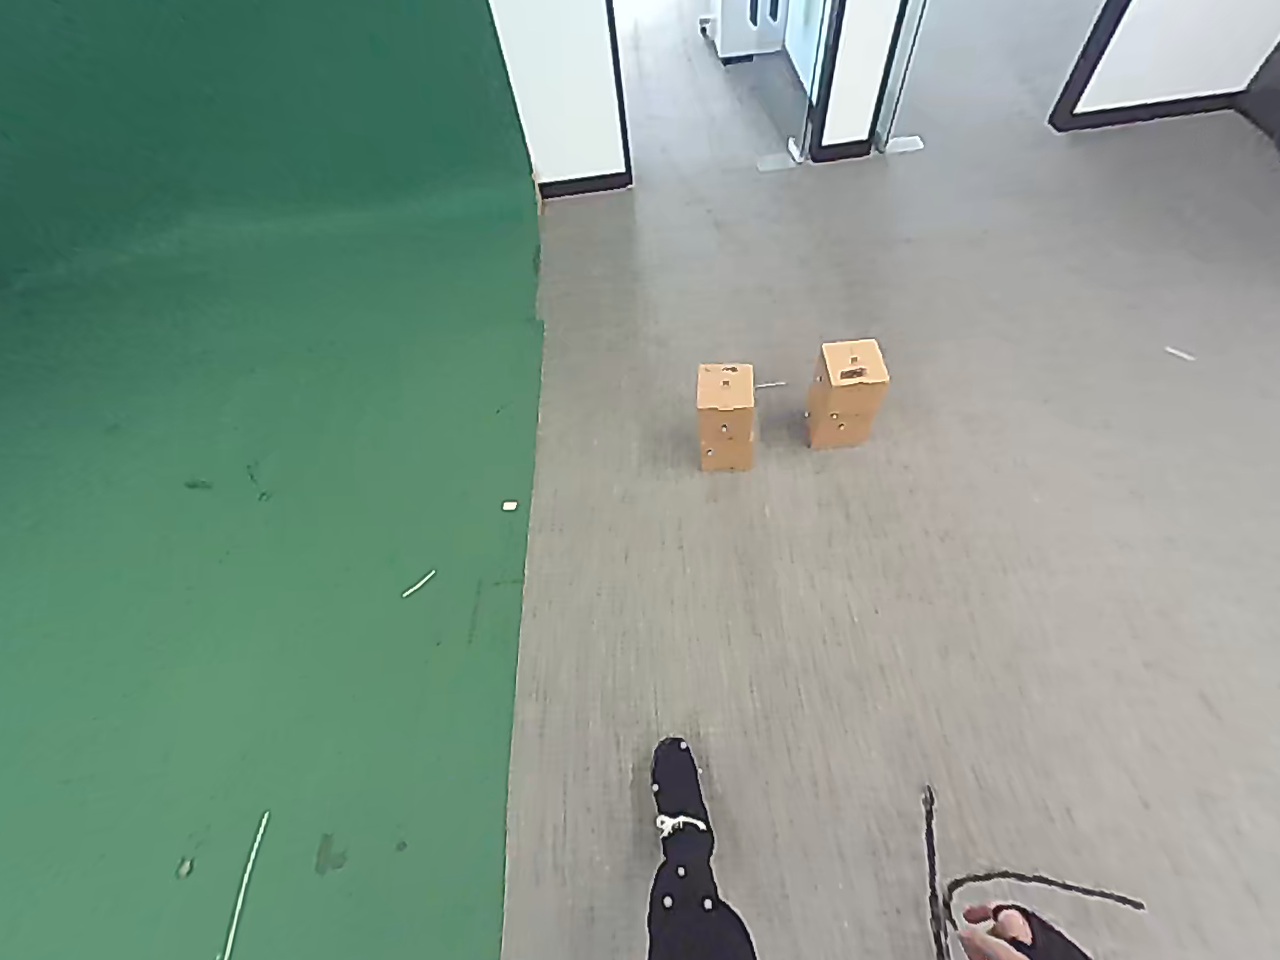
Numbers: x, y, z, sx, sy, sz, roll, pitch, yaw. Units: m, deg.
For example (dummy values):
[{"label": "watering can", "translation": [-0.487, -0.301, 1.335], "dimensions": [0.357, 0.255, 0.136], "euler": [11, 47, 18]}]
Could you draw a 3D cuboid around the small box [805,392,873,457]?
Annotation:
[{"label": "small box", "translation": [0.662, -0.189, 1.820], "dimensions": [0.179, 0.176, 0.168], "euler": [-4, 57, 4]}]

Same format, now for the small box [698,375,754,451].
[{"label": "small box", "translation": [0.267, -0.205, 1.683], "dimensions": [0.168, 0.176, 0.179], "euler": [2, 57, 7]}]

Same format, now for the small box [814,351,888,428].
[{"label": "small box", "translation": [0.648, -0.275, 1.681], "dimensions": [0.168, 0.176, 0.179], "euler": [-3, 56, 5]}]
